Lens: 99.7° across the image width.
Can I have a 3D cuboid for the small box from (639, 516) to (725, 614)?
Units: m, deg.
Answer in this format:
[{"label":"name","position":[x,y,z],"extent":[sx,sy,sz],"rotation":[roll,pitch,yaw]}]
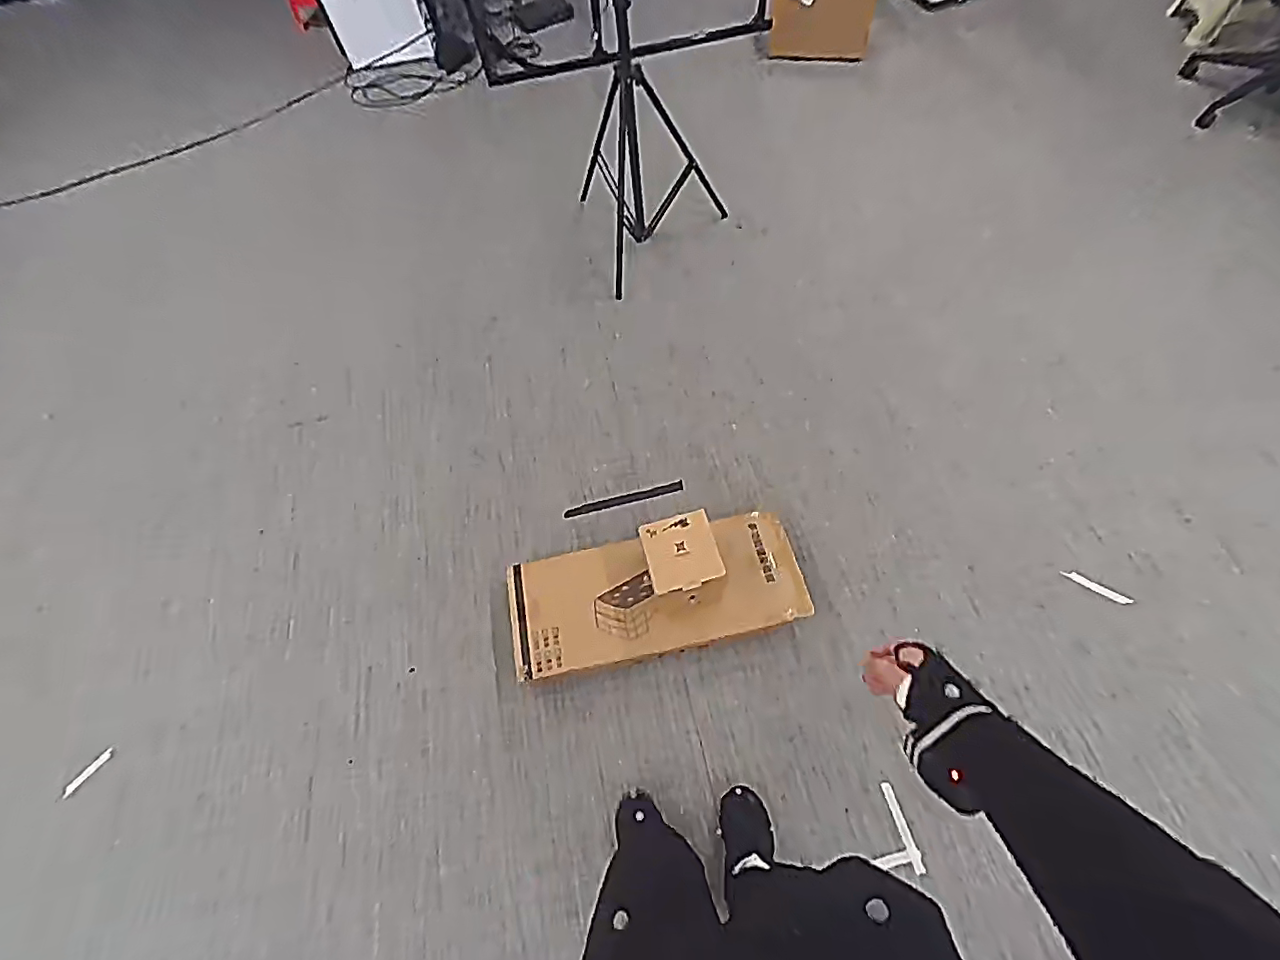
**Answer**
[{"label":"small box","position":[0.101,0.213,1.307],"extent":[0.168,0.176,0.179],"rotation":[-14,62,-3]}]
